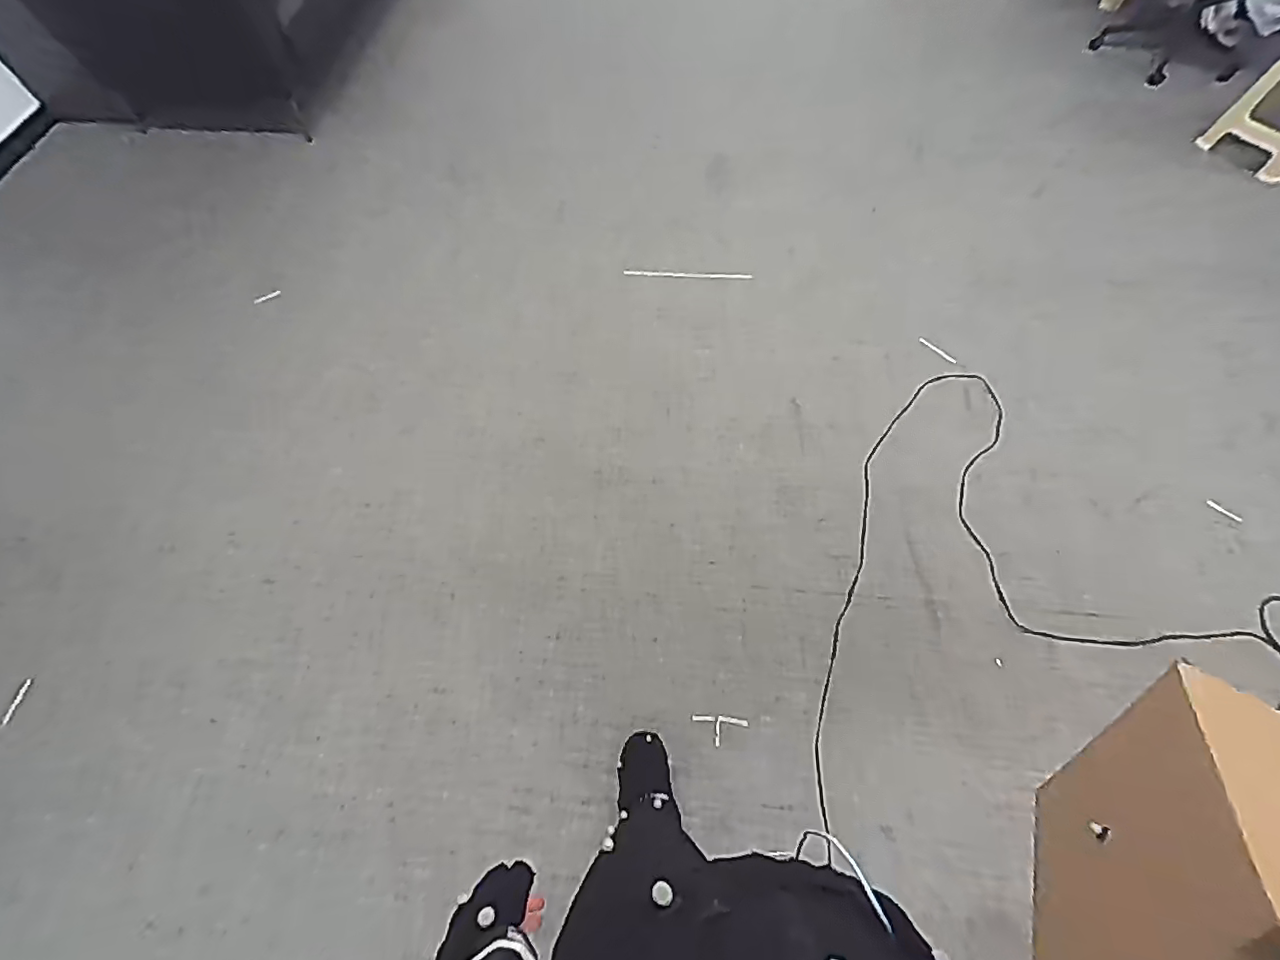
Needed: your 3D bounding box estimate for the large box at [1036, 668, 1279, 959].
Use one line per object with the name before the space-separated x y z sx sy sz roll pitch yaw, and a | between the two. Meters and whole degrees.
large box | 0.688 0.503 0.589 0.320 0.320 0.408 33 31 24
